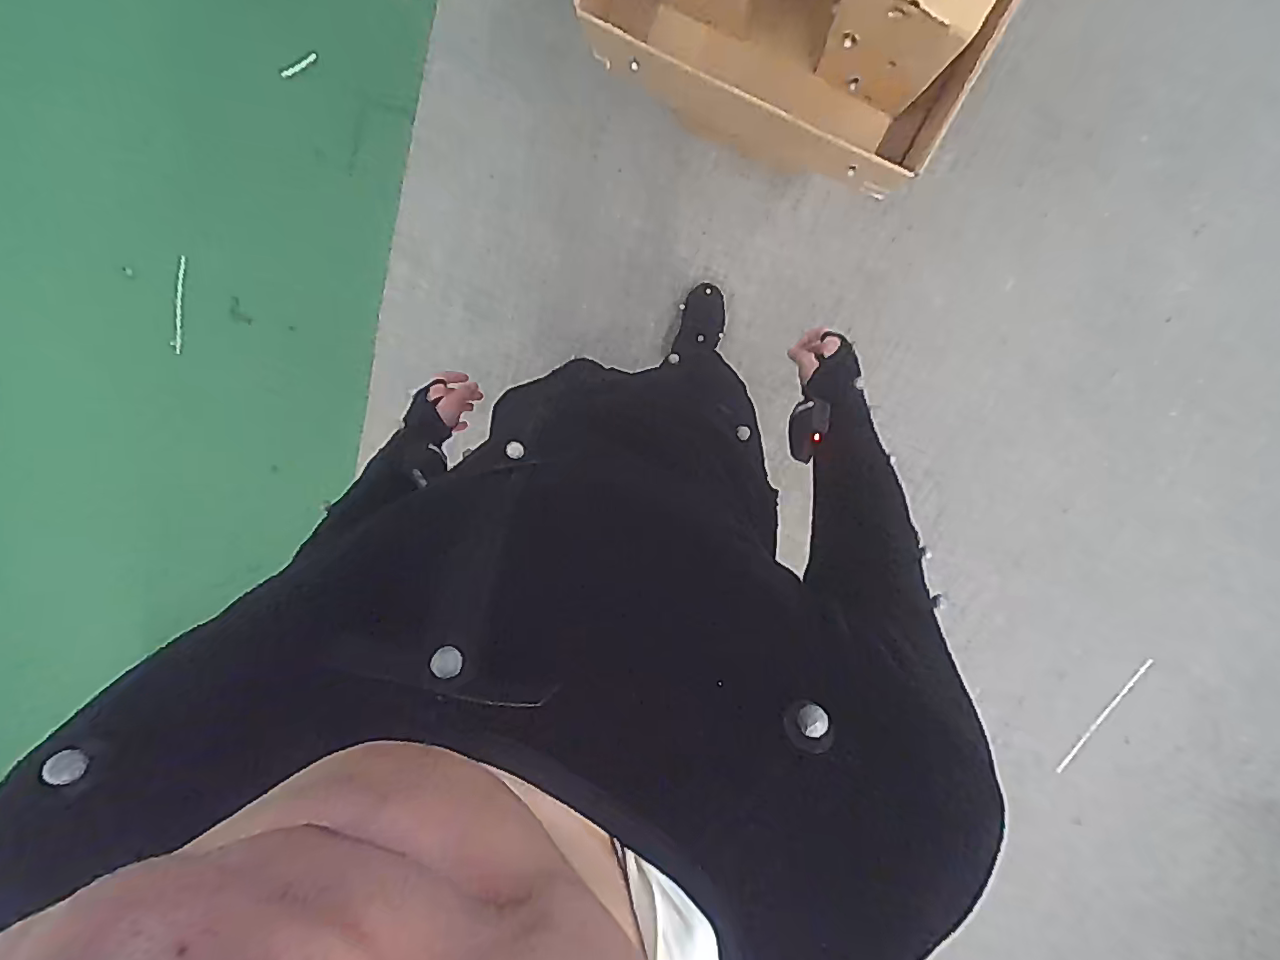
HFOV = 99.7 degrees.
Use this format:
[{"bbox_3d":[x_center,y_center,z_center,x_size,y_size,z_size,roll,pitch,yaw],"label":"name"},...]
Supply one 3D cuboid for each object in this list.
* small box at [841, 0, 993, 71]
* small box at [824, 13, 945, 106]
[{"bbox_3d":[0.371,-0.659,0.672,0.168,0.176,0.179,27,111,-1],"label":"small box"},{"bbox_3d":[0.402,-0.718,0.823,0.168,0.176,0.179,26,112,0],"label":"small box"}]
